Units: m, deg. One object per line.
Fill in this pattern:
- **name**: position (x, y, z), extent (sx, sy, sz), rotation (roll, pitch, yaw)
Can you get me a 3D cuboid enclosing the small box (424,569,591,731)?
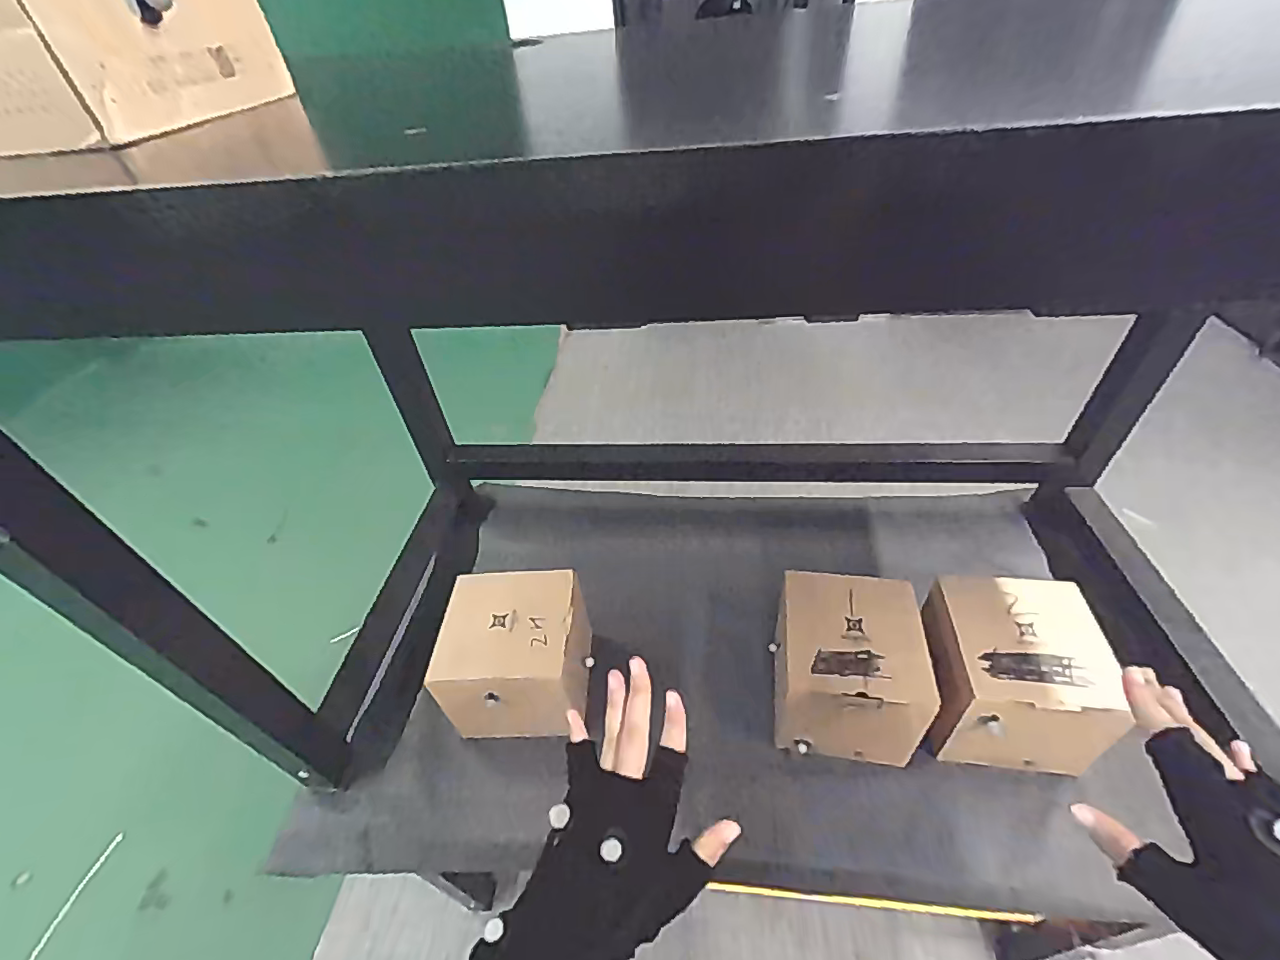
- **small box**: position (-0.175, 0.246, 0.777), extent (0.179, 0.176, 0.168), rotation (-2, 43, 4)
